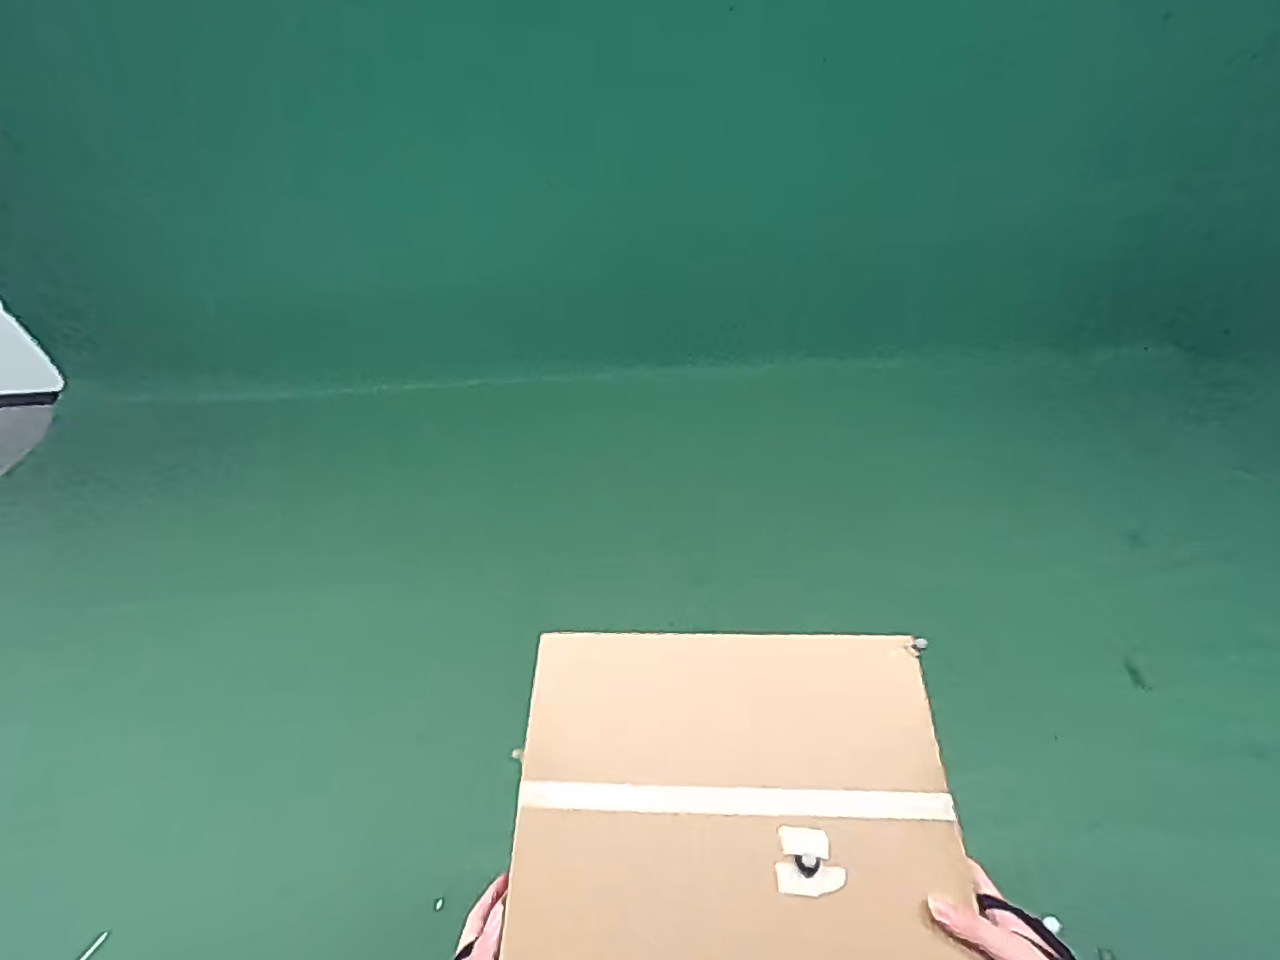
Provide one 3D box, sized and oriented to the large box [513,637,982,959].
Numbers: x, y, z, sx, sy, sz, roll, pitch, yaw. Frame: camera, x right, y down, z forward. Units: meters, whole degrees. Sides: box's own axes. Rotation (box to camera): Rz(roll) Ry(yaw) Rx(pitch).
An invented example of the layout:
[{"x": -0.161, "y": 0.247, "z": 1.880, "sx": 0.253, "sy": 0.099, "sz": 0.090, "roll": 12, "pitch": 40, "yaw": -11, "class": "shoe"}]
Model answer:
[{"x": 0.096, "y": 0.389, "z": 0.646, "sx": 0.408, "sy": 0.320, "sz": 0.320, "roll": -2, "pitch": 58, "yaw": 4, "class": "large box"}]
